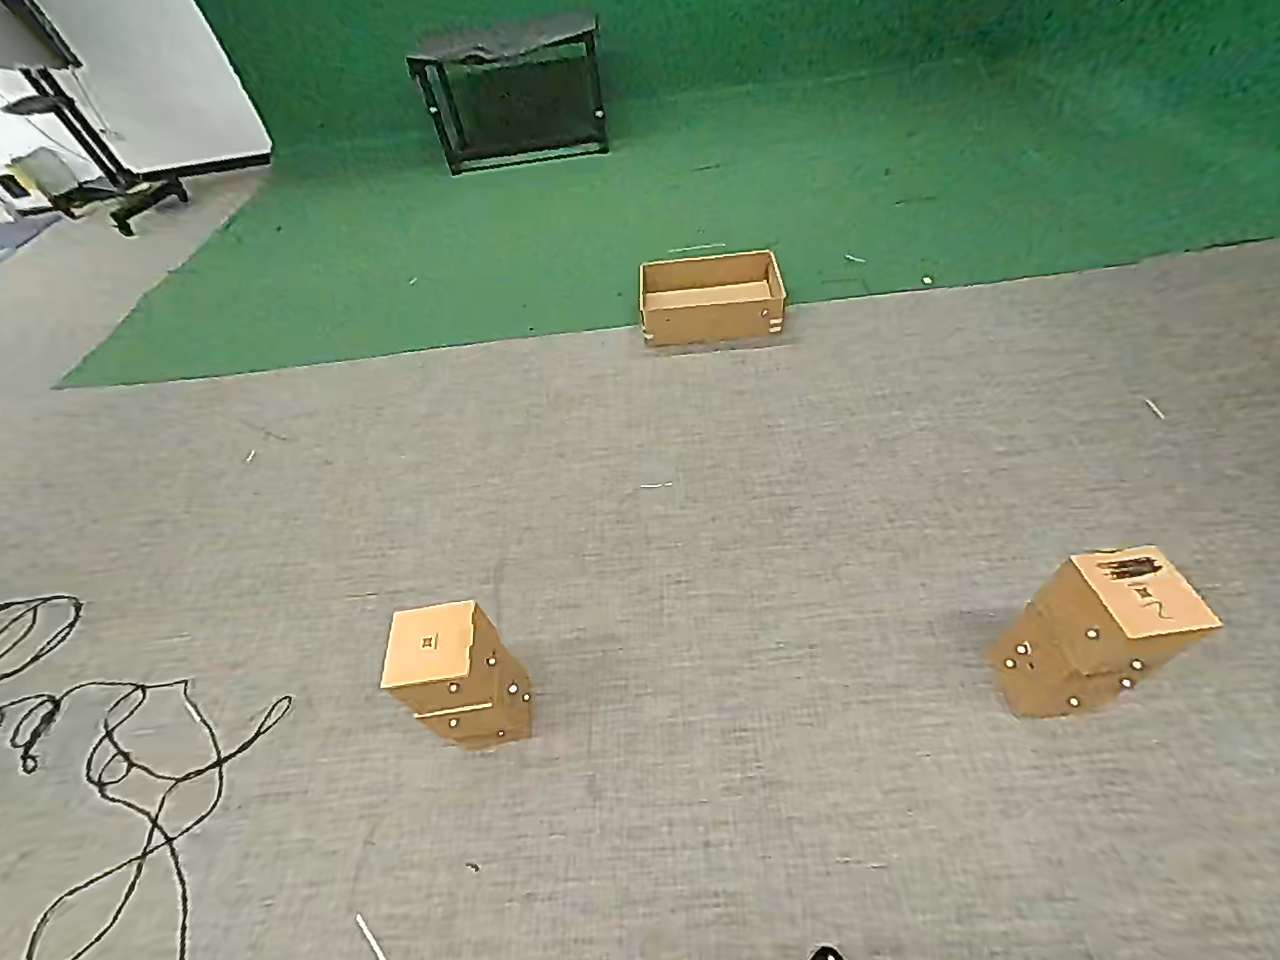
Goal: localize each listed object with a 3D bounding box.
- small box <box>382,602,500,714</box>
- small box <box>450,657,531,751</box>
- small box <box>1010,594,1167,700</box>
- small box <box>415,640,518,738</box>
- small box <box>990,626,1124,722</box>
[{"bbox_3d":[-0.414,0.384,1.153,0.179,0.176,0.168,-9,49,0],"label":"small box"},{"bbox_3d":[-0.385,0.586,1.408,0.179,0.176,0.168,-12,49,-1],"label":"small box"},{"bbox_3d":[0.960,0.367,1.178,0.179,0.176,0.168,-6,48,5],"label":"small box"},{"bbox_3d":[-0.399,0.493,1.272,0.179,0.176,0.168,-8,50,0],"label":"small box"},{"bbox_3d":[0.988,0.466,1.304,0.168,0.176,0.179,-5,49,5],"label":"small box"}]
